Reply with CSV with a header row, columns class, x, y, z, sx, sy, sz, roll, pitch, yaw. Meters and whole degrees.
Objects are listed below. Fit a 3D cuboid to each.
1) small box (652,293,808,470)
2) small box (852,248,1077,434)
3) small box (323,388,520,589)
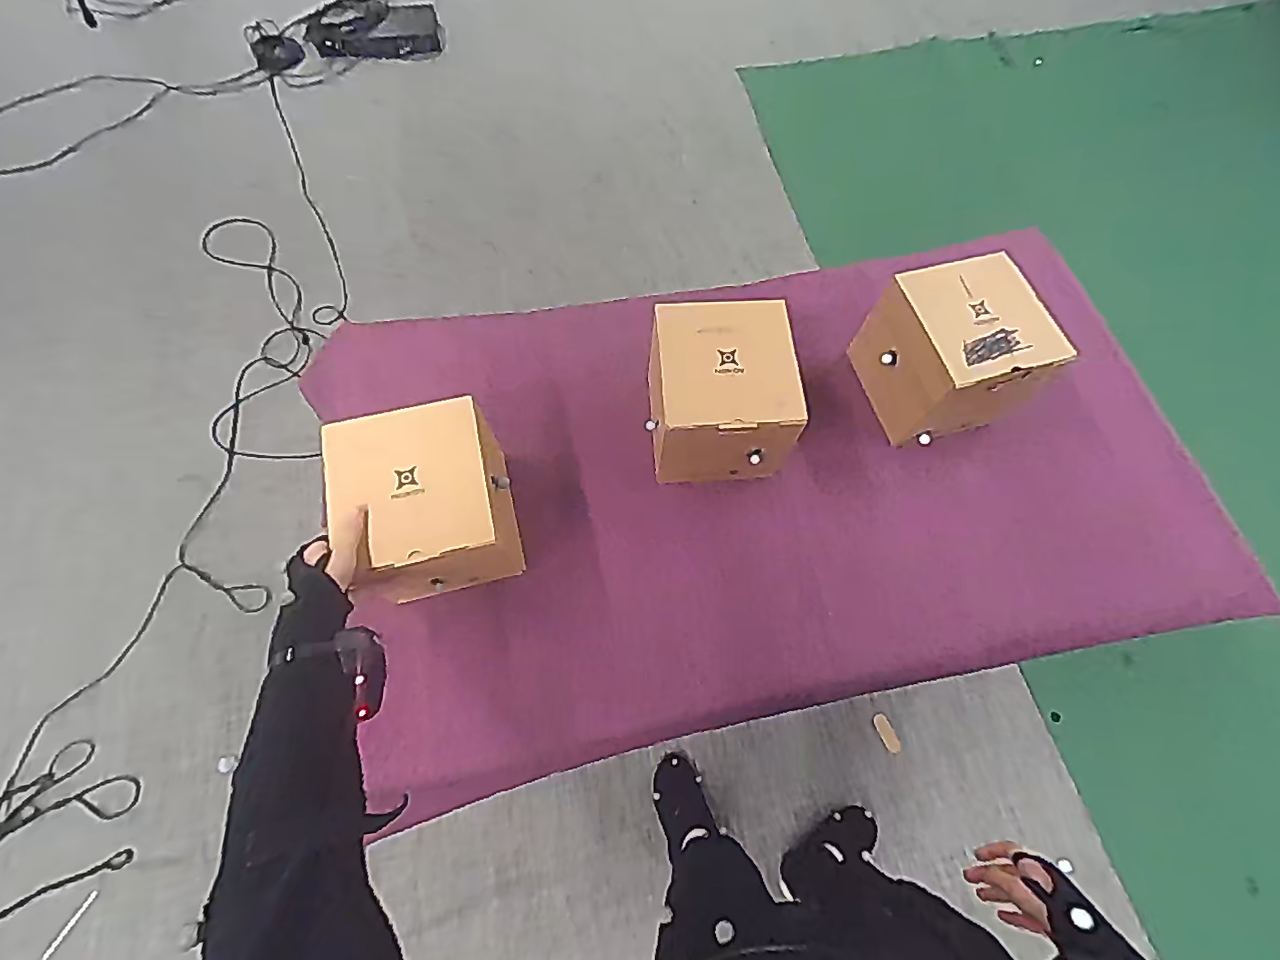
class,x,y,z,sx,sy,sz,roll,pitch,yaw
small box,0.104,-0.118,0.709,0.168,0.176,0.179,-2,68,-3
small box,0.422,-0.178,0.740,0.168,0.176,0.179,-13,68,-7
small box,-0.247,0.018,0.640,0.168,0.176,0.179,-12,72,-7
